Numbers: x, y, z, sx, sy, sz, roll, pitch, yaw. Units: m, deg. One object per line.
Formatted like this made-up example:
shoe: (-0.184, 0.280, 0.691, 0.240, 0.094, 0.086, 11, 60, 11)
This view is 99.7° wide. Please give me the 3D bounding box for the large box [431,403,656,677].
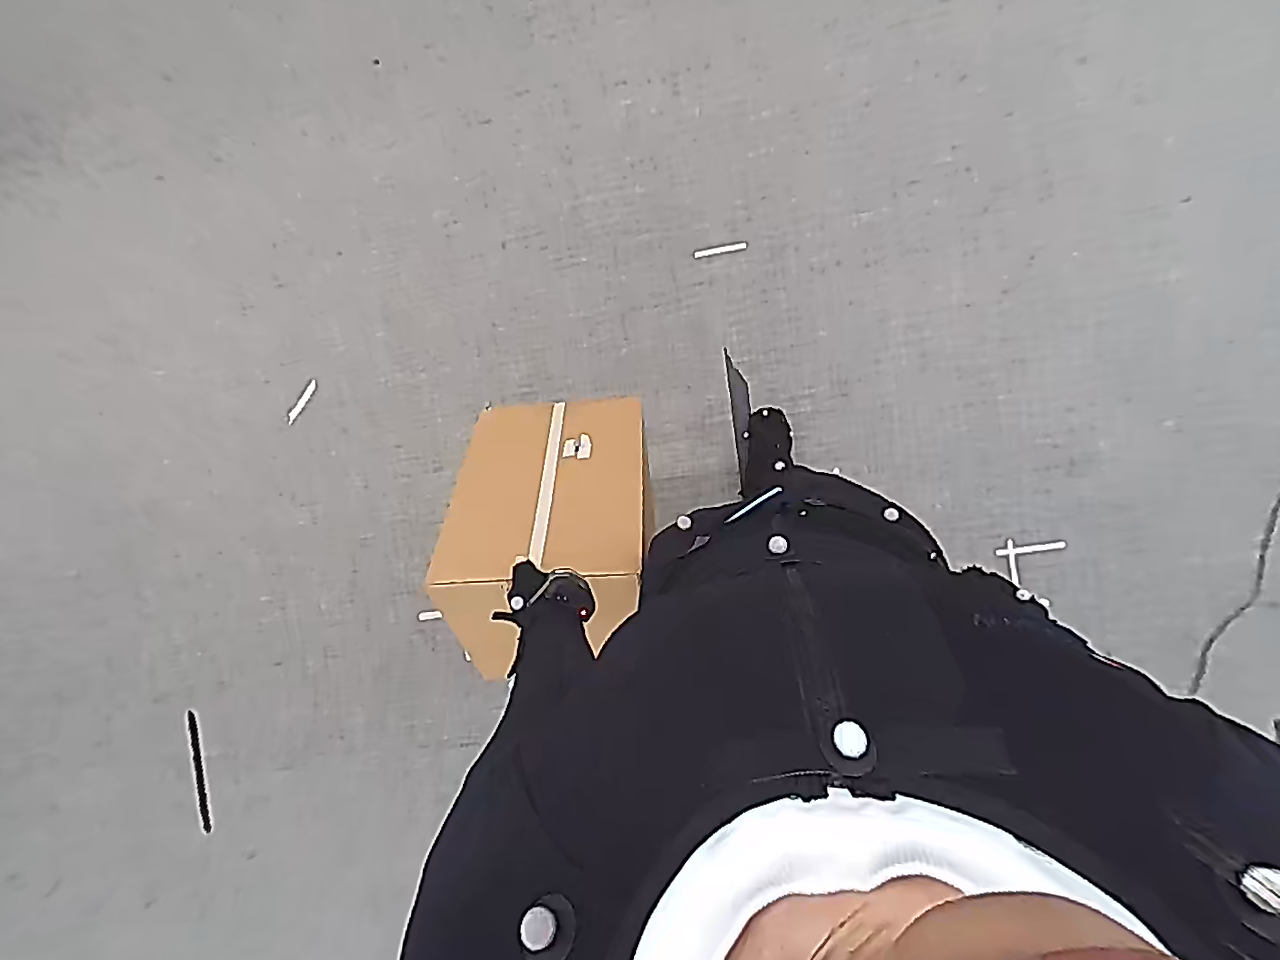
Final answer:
large box: (-0.140, 0.107, 1.014, 0.320, 0.408, 0.320, -3, 134, 4)
